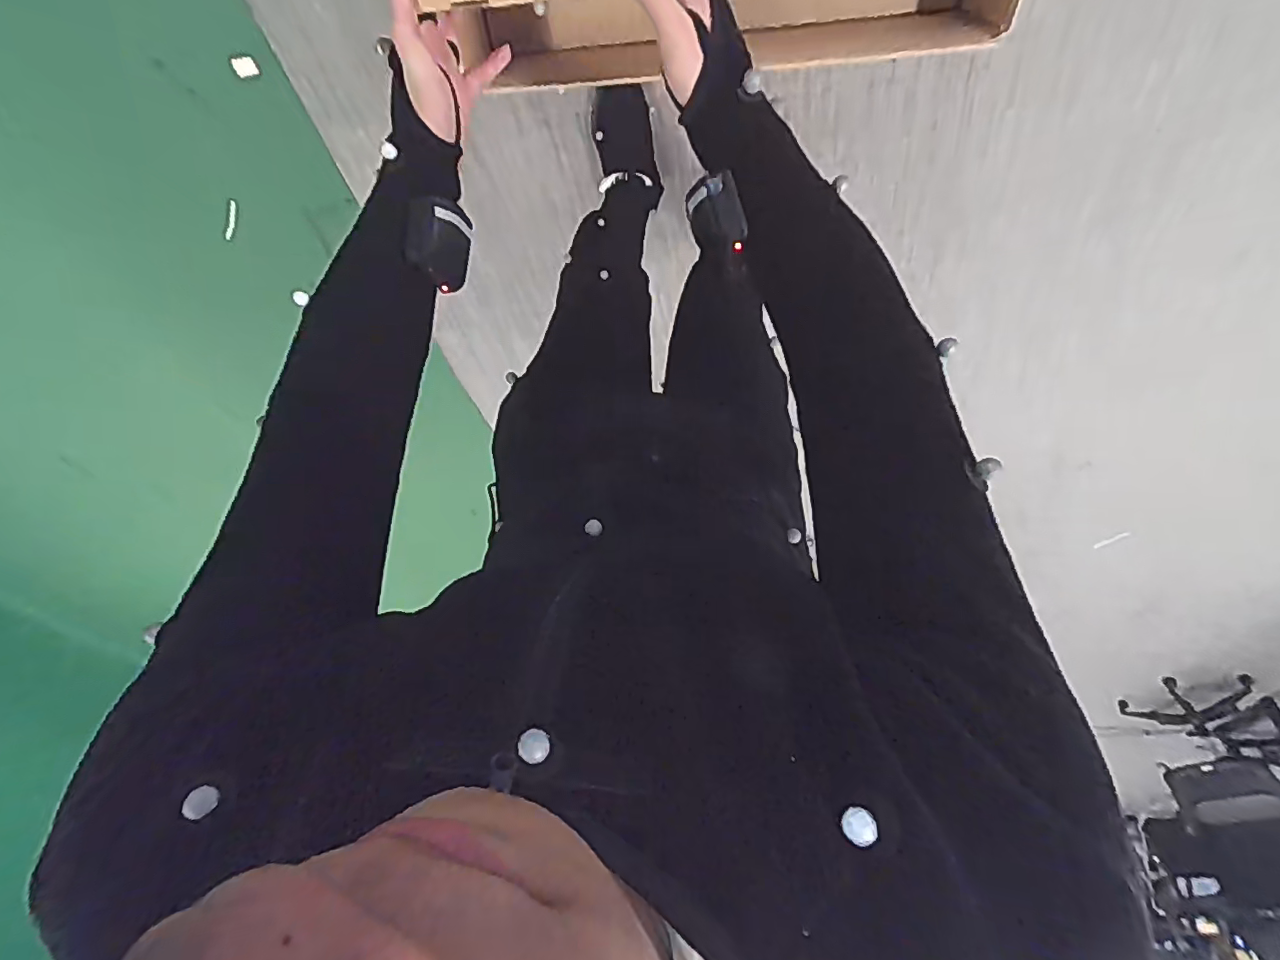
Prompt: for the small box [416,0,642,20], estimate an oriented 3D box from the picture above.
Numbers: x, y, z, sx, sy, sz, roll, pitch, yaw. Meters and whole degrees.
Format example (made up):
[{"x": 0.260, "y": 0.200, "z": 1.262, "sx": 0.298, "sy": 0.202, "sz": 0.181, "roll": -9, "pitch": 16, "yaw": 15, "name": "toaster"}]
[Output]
[{"x": -0.078, "y": -0.452, "z": 0.380, "sx": 0.168, "sy": 0.176, "sz": 0.179, "roll": 0, "pitch": 136, "yaw": 6, "name": "small box"}]
